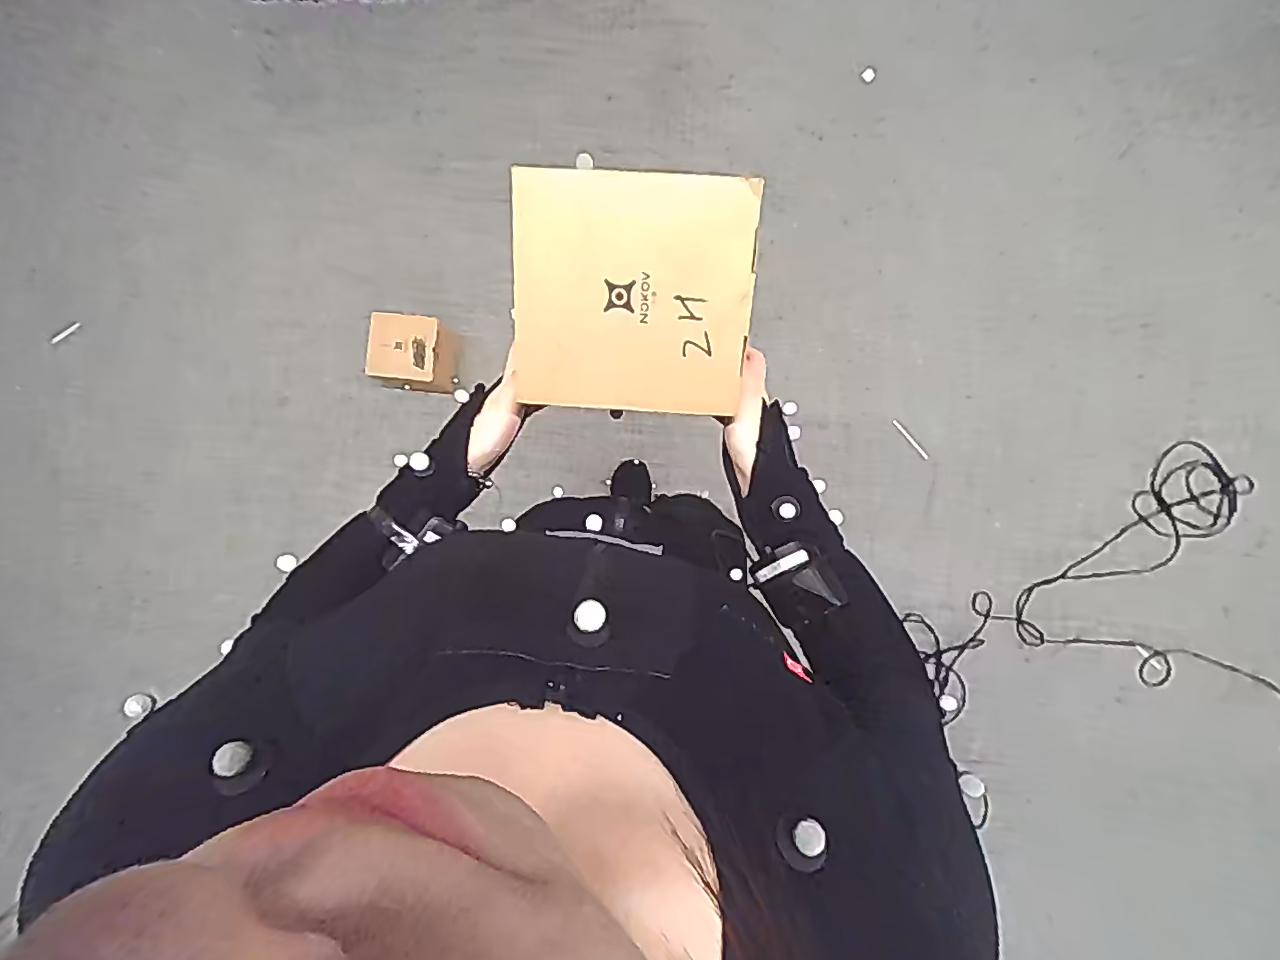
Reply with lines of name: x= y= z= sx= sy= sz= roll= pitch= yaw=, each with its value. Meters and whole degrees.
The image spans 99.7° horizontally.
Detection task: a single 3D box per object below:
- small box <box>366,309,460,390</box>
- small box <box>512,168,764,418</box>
small box: x=-0.595 y=-0.340 z=1.440 sx=0.179 sy=0.176 sz=0.168 roll=7 pitch=89 yaw=1
small box: x=-0.002 y=-0.156 z=0.470 sx=0.179 sy=0.176 sz=0.168 roll=4 pitch=109 yaw=1
